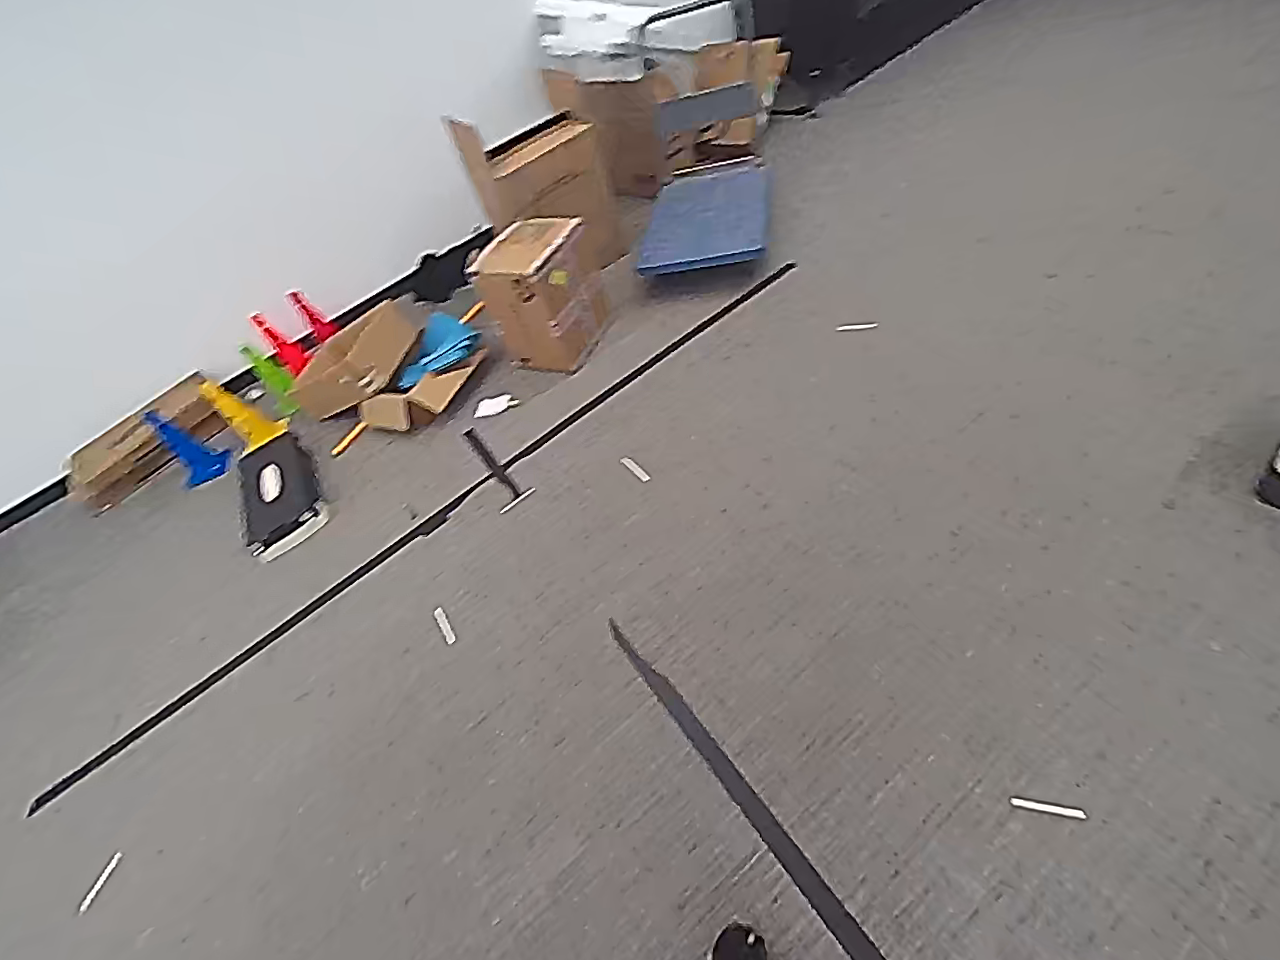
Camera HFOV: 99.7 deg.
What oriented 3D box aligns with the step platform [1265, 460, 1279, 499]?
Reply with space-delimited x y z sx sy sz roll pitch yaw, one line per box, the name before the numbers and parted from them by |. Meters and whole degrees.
step platform | 1.764 0.057 1.058 0.286 0.204 0.684 -37 48 -13
